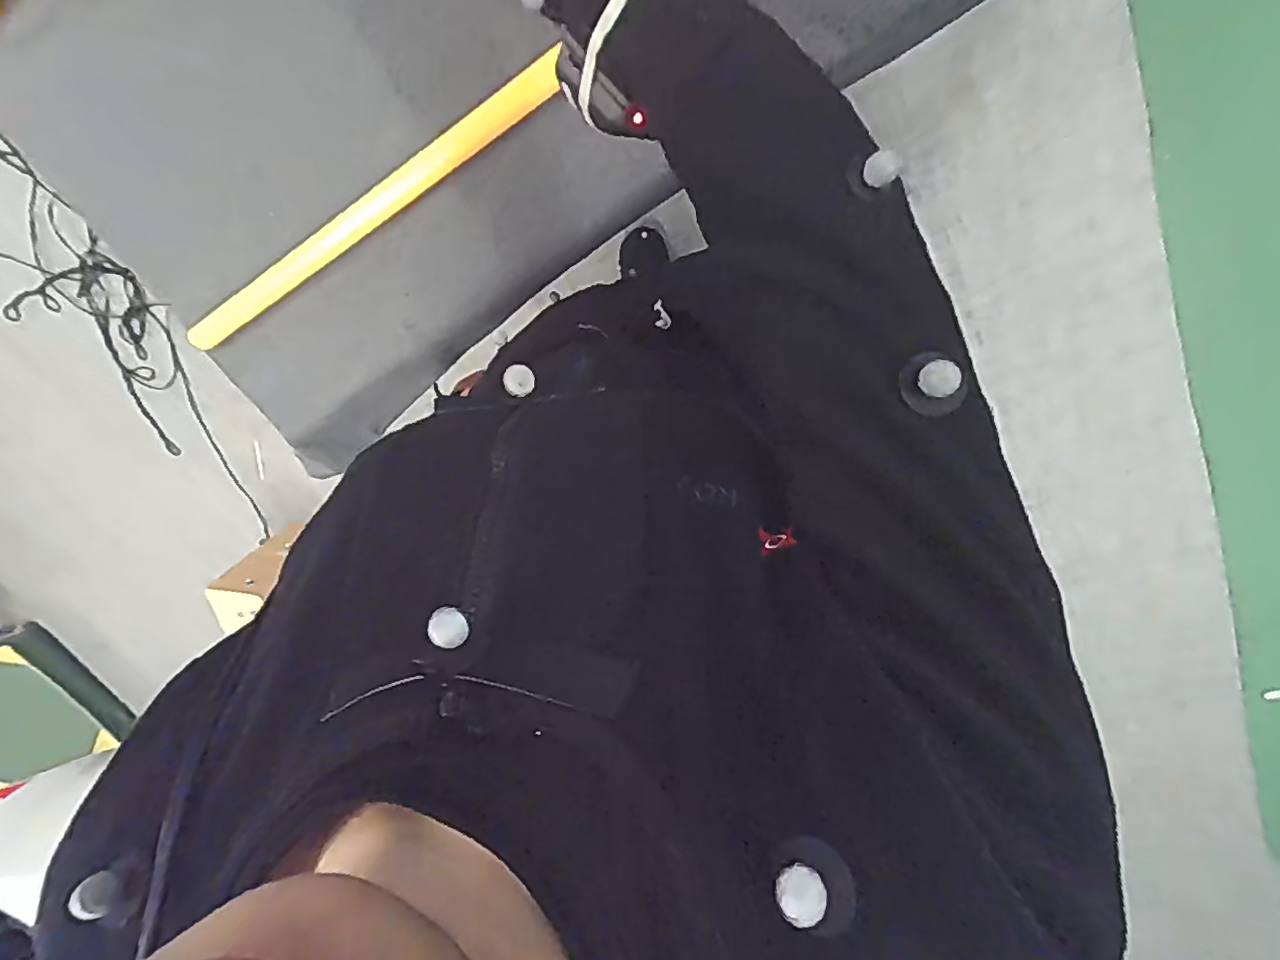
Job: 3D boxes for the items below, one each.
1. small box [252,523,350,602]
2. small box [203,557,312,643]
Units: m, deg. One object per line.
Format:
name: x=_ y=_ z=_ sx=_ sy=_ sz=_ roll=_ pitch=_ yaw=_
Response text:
small box: x=-1.035 y=0.253 z=1.671 sx=0.168 sy=0.176 sz=0.179 roll=0 pitch=119 yaw=9
small box: x=-1.067 y=0.335 z=1.531 sx=0.179 sy=0.176 sz=0.168 roll=5 pitch=119 yaw=7
